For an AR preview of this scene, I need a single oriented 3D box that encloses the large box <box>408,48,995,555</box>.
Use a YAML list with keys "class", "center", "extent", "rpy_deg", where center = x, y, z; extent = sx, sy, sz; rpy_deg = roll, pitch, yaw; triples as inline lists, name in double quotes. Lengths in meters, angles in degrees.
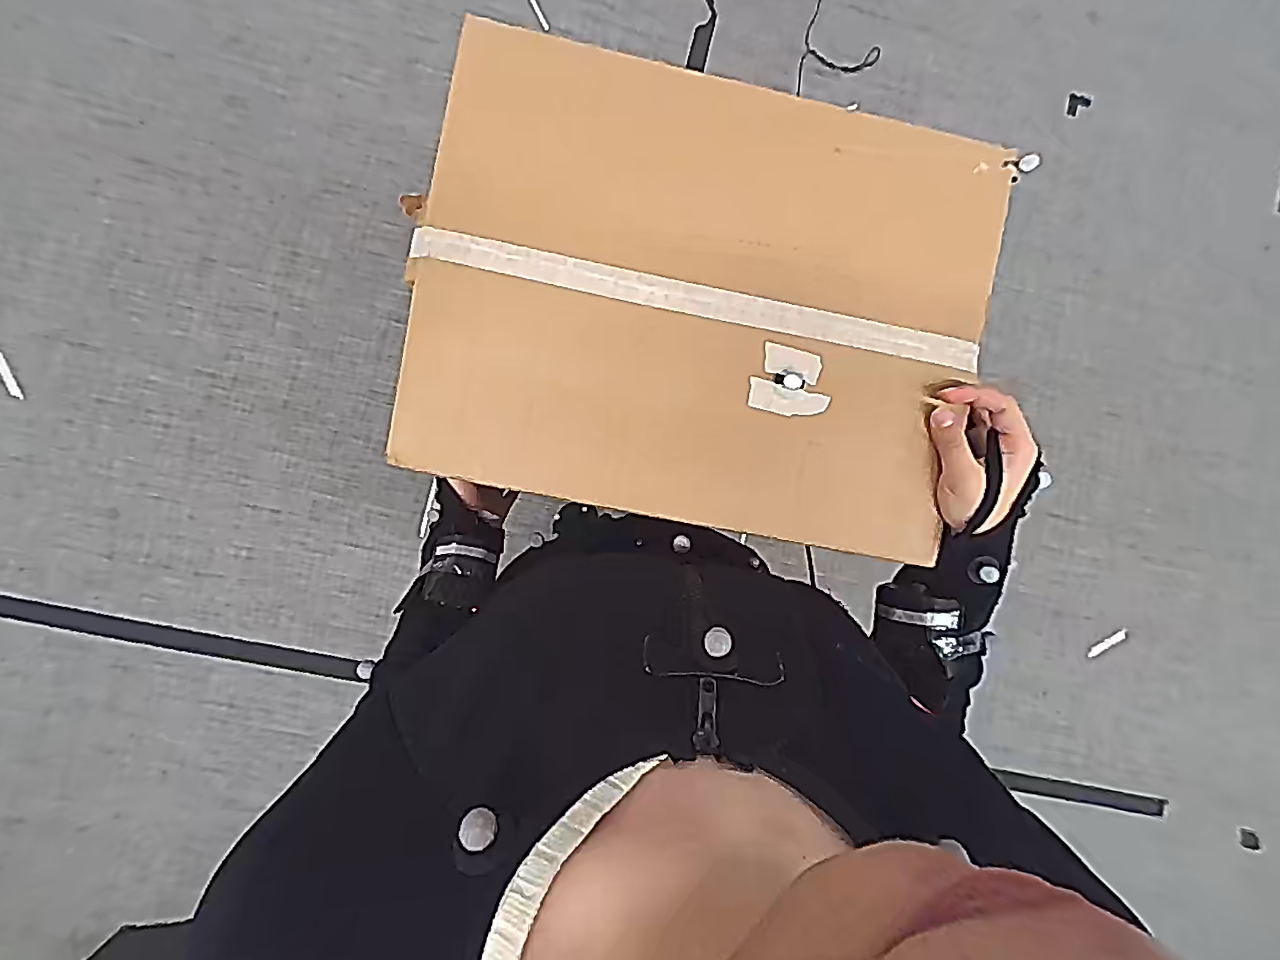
- class: "large box"
  center: [0.039, -0.127, 0.544]
  extent: [0.408, 0.320, 0.320]
  rpy_deg: [10, 92, -5]
